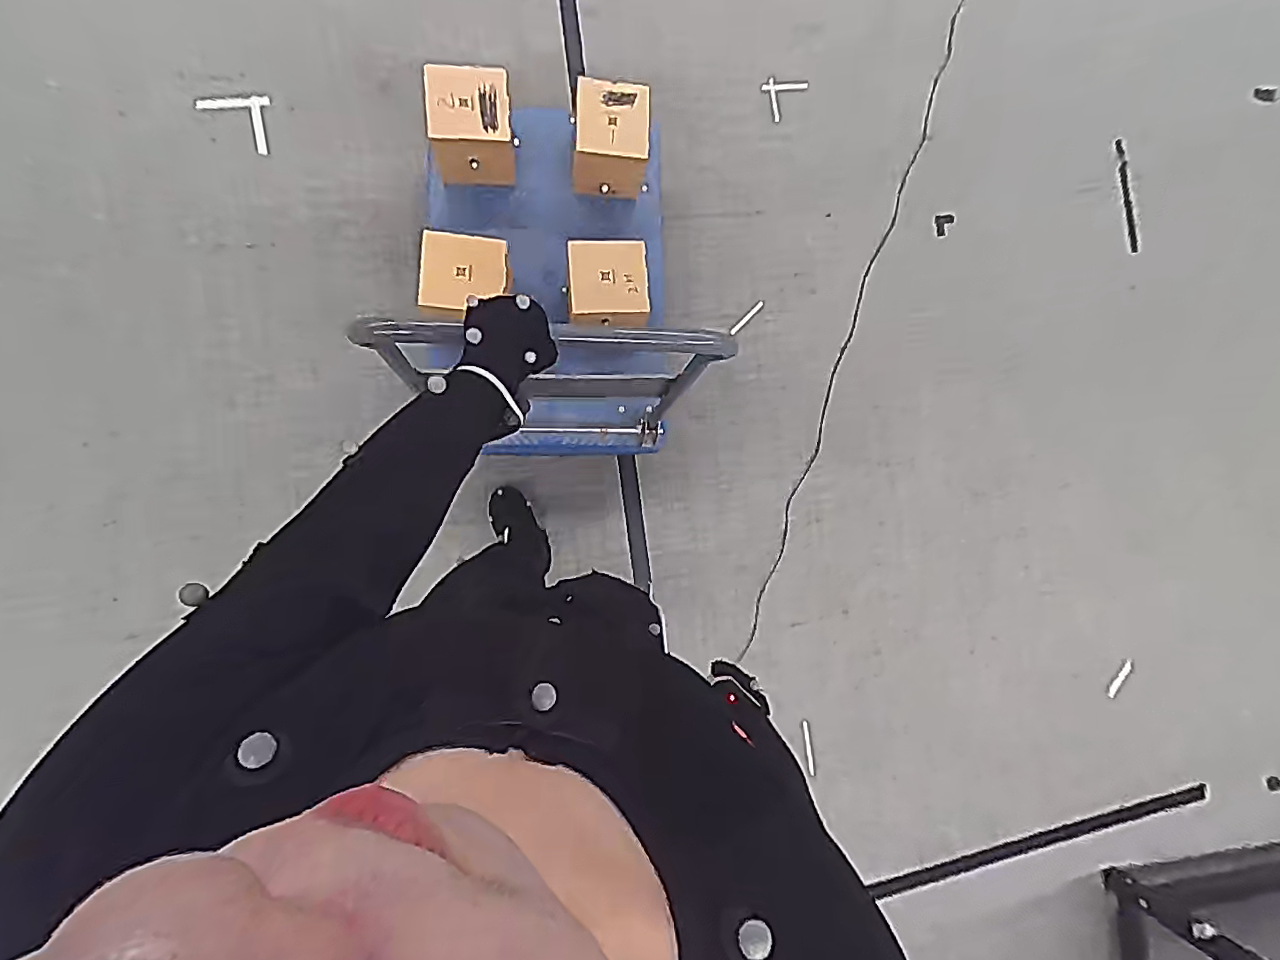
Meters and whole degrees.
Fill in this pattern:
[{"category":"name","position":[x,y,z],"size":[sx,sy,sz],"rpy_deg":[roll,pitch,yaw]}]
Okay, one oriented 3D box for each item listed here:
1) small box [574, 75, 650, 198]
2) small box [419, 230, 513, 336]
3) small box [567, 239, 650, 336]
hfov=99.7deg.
[{"category":"small box","position":[-0.072,-0.814,1.296],"size":[0.168,0.176,0.179],"rpy_deg":[1,88,-9]},{"category":"small box","position":[-0.385,-0.436,1.222],"size":[0.179,0.176,0.168],"rpy_deg":[3,86,-11]},{"category":"small box","position":[-0.079,-0.445,1.272],"size":[0.179,0.176,0.168],"rpy_deg":[-4,87,-9]}]
